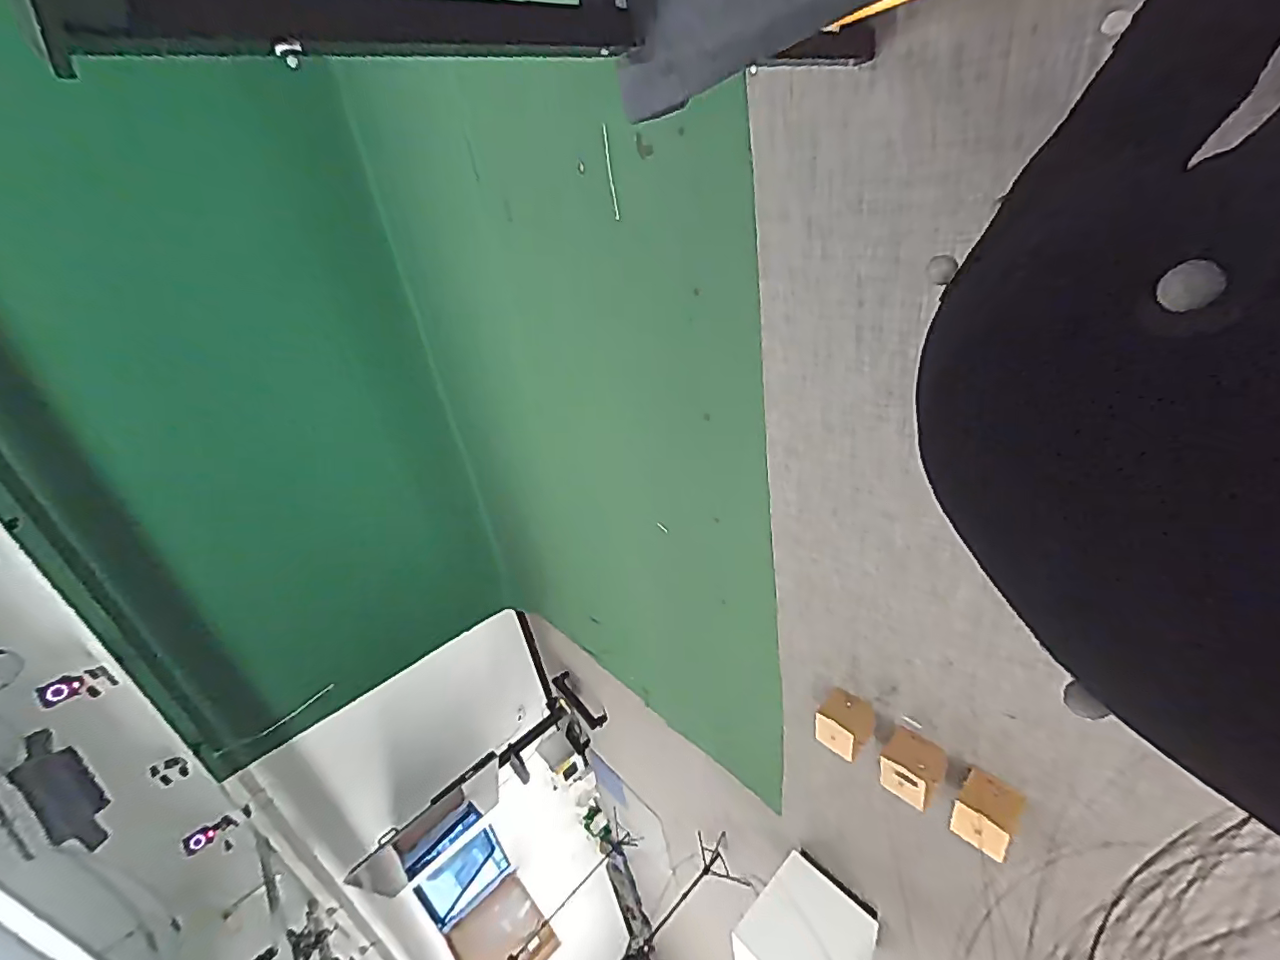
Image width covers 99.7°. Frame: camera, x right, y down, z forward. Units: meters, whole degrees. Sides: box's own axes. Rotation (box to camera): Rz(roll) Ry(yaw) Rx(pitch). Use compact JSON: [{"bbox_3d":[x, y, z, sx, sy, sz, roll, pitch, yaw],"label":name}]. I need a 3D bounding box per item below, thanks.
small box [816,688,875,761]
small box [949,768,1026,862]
[{"bbox_3d":[0.850,1.005,2.235,0.168,0.176,0.179,22,130,45],"label":"small box"},{"bbox_3d":[1.195,1.145,1.858,0.168,0.176,0.179,22,130,44],"label":"small box"}]
